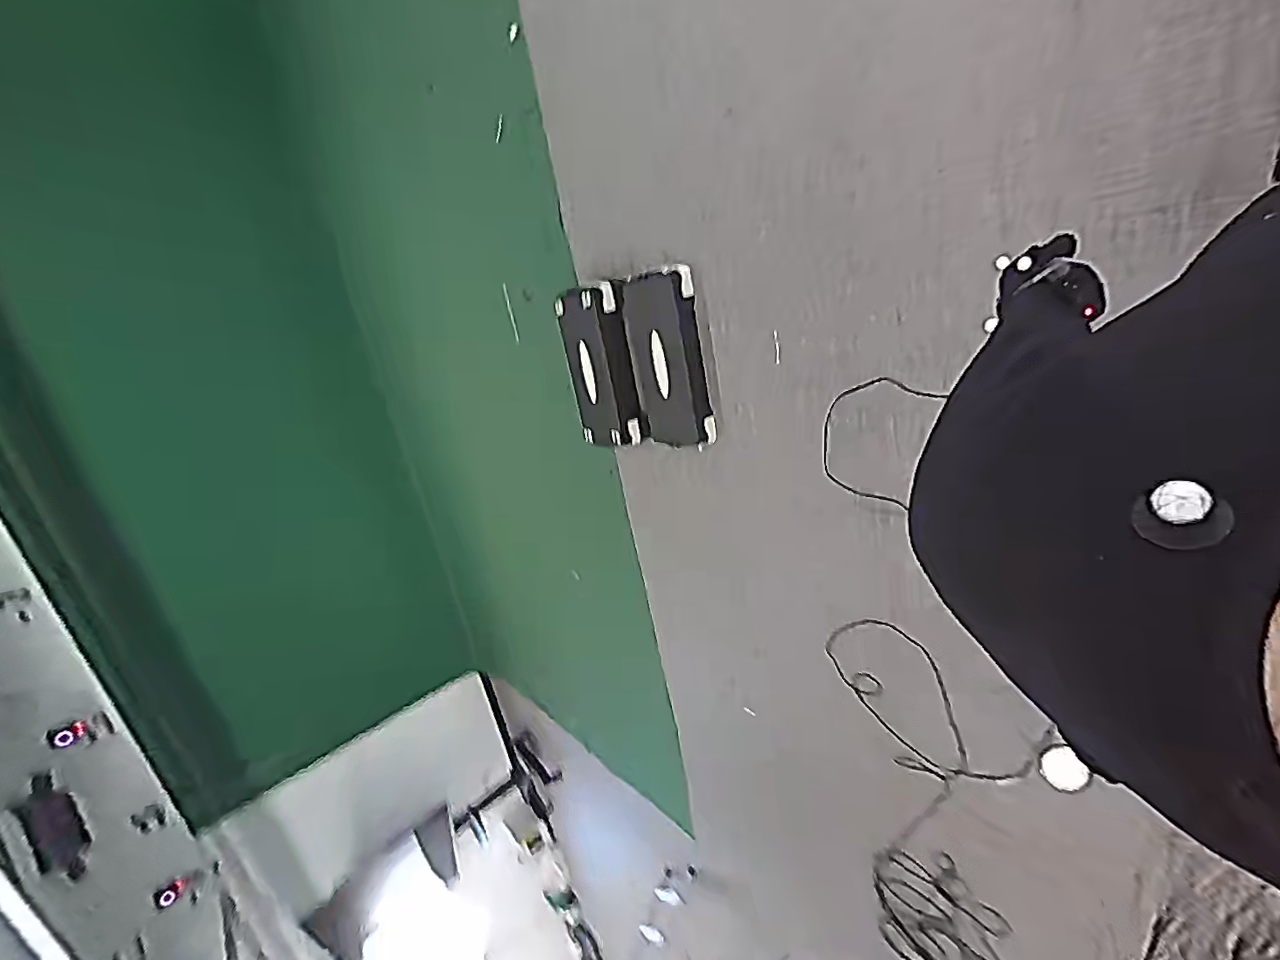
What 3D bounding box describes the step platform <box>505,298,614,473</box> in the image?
[{"bbox_3d":[-0.321,-0.381,2.202,0.286,0.204,0.684,8,117,48],"label":"step platform"}]
